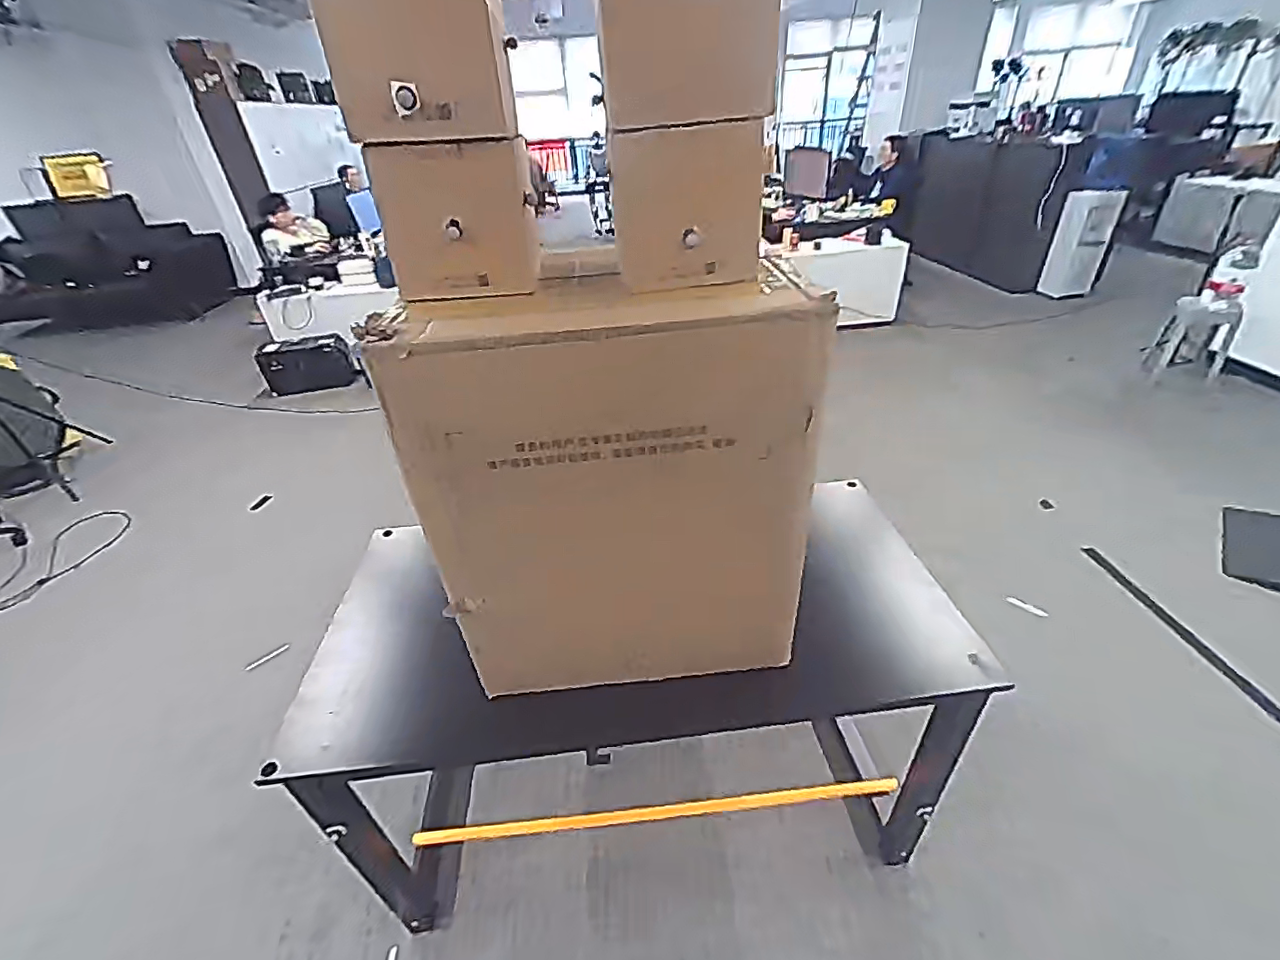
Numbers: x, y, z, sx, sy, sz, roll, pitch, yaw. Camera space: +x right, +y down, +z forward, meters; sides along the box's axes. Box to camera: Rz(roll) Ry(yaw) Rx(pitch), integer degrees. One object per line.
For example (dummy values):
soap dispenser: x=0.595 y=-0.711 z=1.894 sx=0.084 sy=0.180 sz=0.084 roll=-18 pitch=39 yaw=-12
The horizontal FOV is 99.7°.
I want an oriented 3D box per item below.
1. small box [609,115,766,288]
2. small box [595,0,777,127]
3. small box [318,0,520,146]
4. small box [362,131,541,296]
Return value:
small box: x=0.051 y=-0.350 z=0.679 sx=0.168 sy=0.176 sz=0.179 roll=-7 pitch=34 yaw=-1
small box: x=0.044 y=-0.483 z=0.582 sx=0.179 sy=0.176 sz=0.168 roll=-6 pitch=34 yaw=-2
small box: x=-0.230 y=-0.469 z=0.592 sx=0.168 sy=0.176 sz=0.179 roll=-7 pitch=34 yaw=-4
small box: x=-0.223 y=-0.341 z=0.695 sx=0.168 sy=0.176 sz=0.179 roll=-5 pitch=35 yaw=-4
